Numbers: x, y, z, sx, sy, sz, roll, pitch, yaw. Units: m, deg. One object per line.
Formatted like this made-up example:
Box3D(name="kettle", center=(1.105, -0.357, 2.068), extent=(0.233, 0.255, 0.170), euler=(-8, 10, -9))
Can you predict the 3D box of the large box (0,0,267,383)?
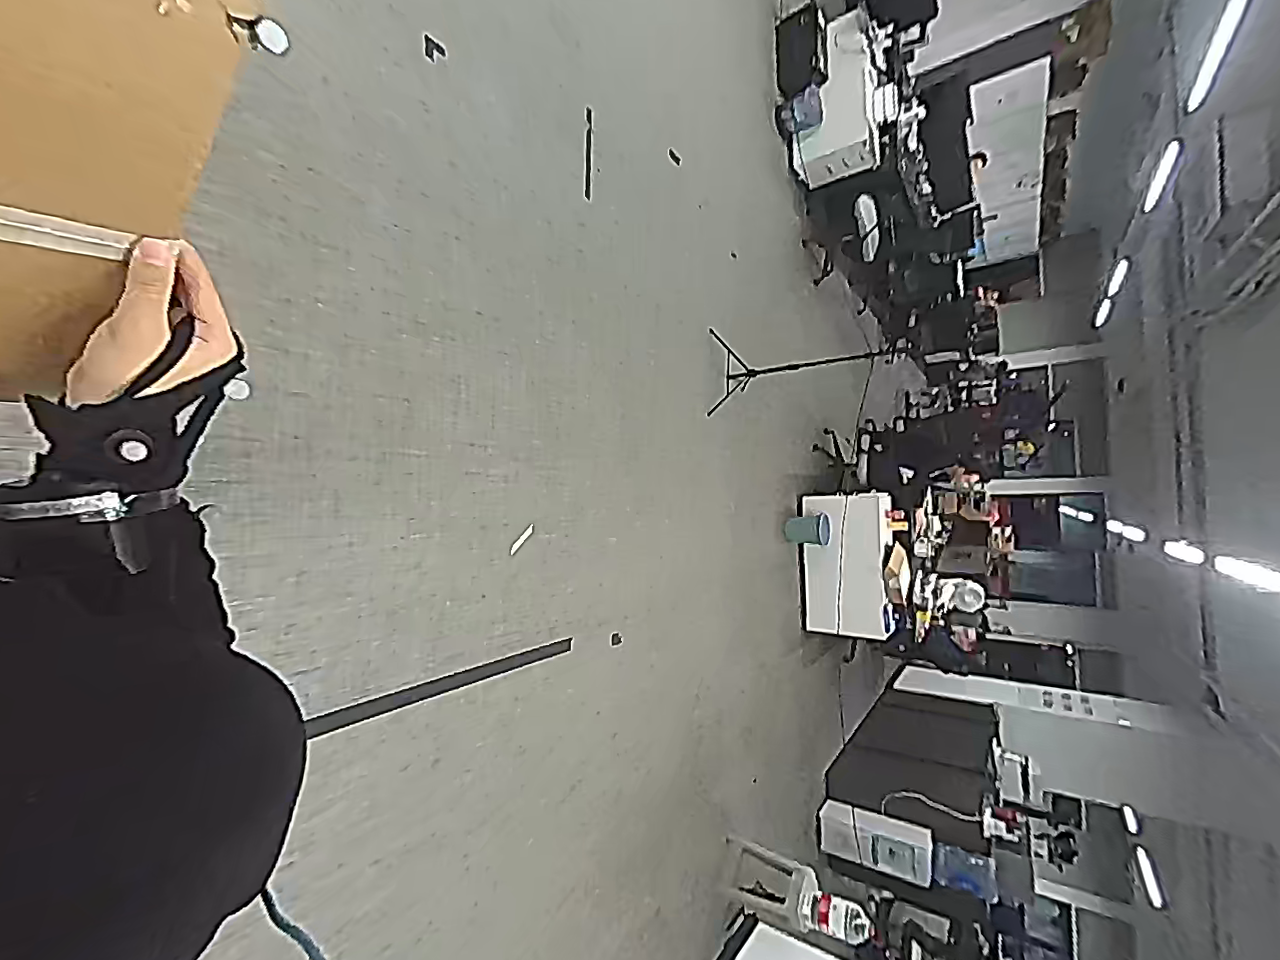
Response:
Box3D(name="large box", center=(-0.449, -0.258, 0.190), extent=(0.408, 0.320, 0.320), euler=(-9, 68, -56))
